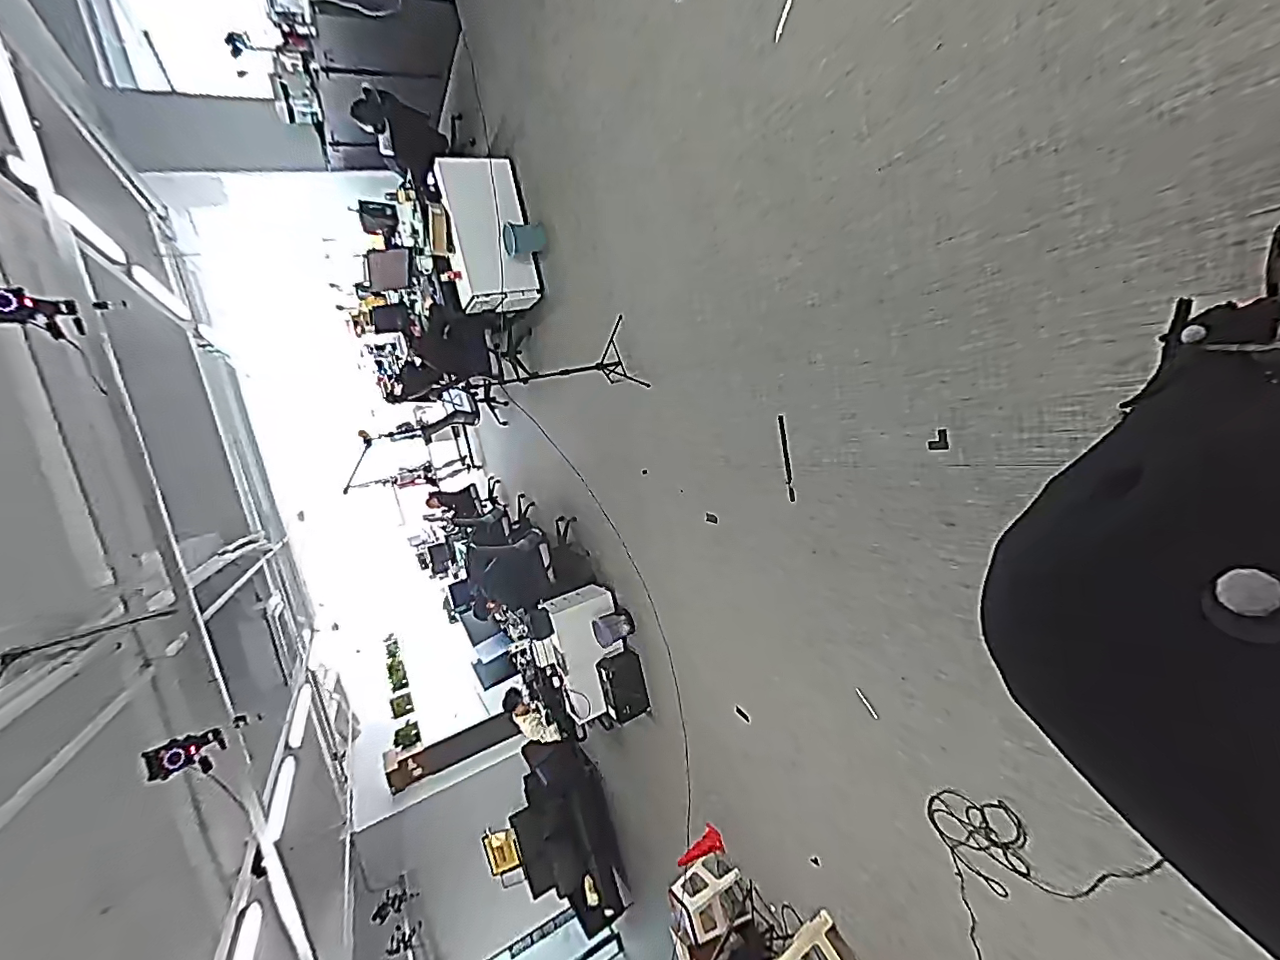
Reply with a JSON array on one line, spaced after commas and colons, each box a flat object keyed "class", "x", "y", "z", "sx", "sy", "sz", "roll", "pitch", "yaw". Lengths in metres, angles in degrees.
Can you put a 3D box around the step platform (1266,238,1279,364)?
[{"class": "step platform", "x": 1.368, "y": -0.324, "z": 0.729, "sx": 0.684, "sy": 0.204, "sz": 0.286, "roll": 1, "pitch": 107, "yaw": 62}]
